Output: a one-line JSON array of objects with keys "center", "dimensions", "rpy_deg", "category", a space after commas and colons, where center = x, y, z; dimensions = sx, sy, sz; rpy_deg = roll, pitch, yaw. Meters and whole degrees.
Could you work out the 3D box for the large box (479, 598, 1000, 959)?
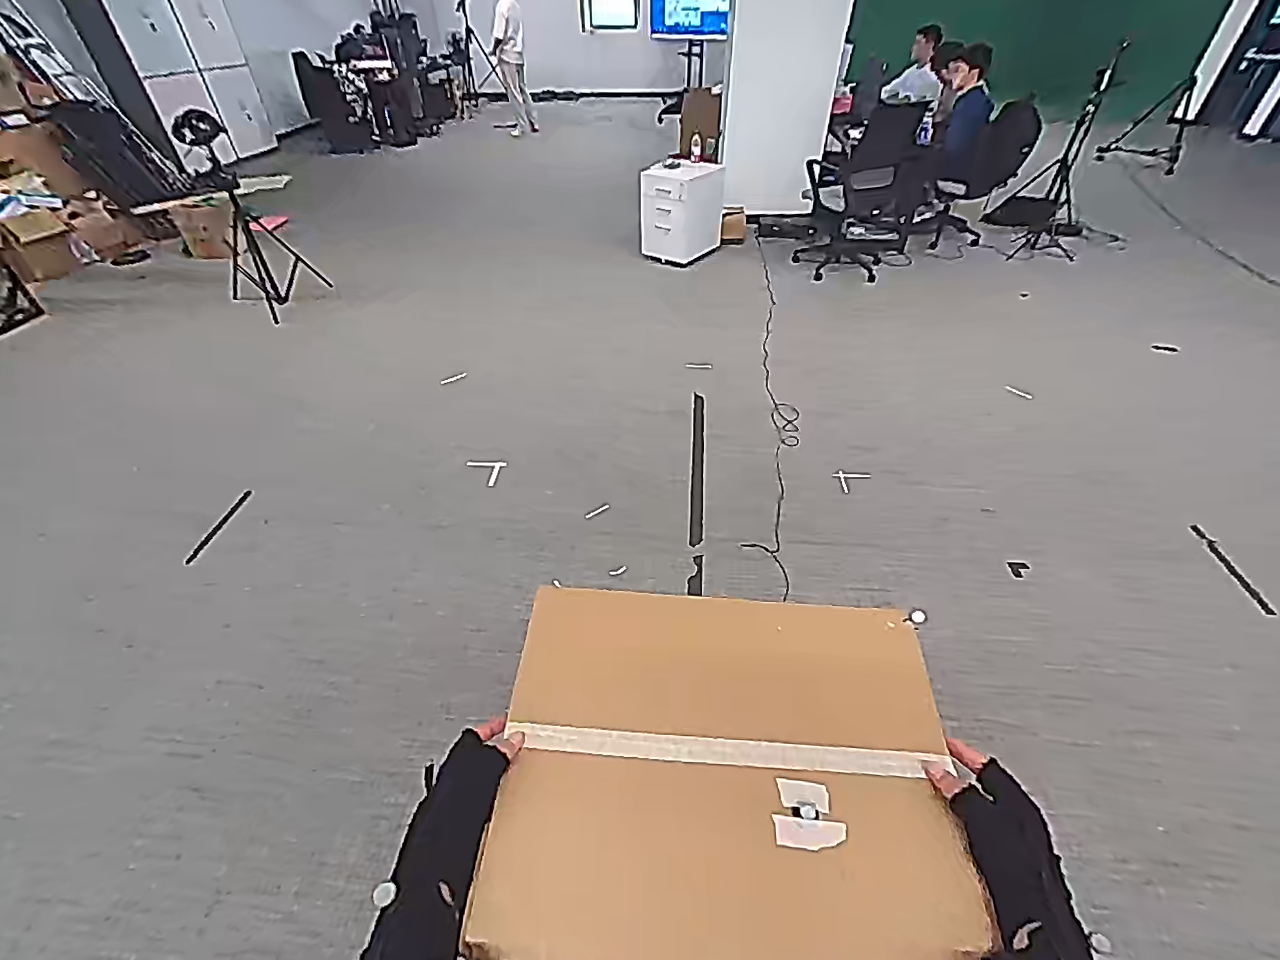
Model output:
[{"center": [0.079, 0.355, 0.610], "dimensions": [0.408, 0.320, 0.320], "rpy_deg": [4, 49, 2], "category": "large box"}]
